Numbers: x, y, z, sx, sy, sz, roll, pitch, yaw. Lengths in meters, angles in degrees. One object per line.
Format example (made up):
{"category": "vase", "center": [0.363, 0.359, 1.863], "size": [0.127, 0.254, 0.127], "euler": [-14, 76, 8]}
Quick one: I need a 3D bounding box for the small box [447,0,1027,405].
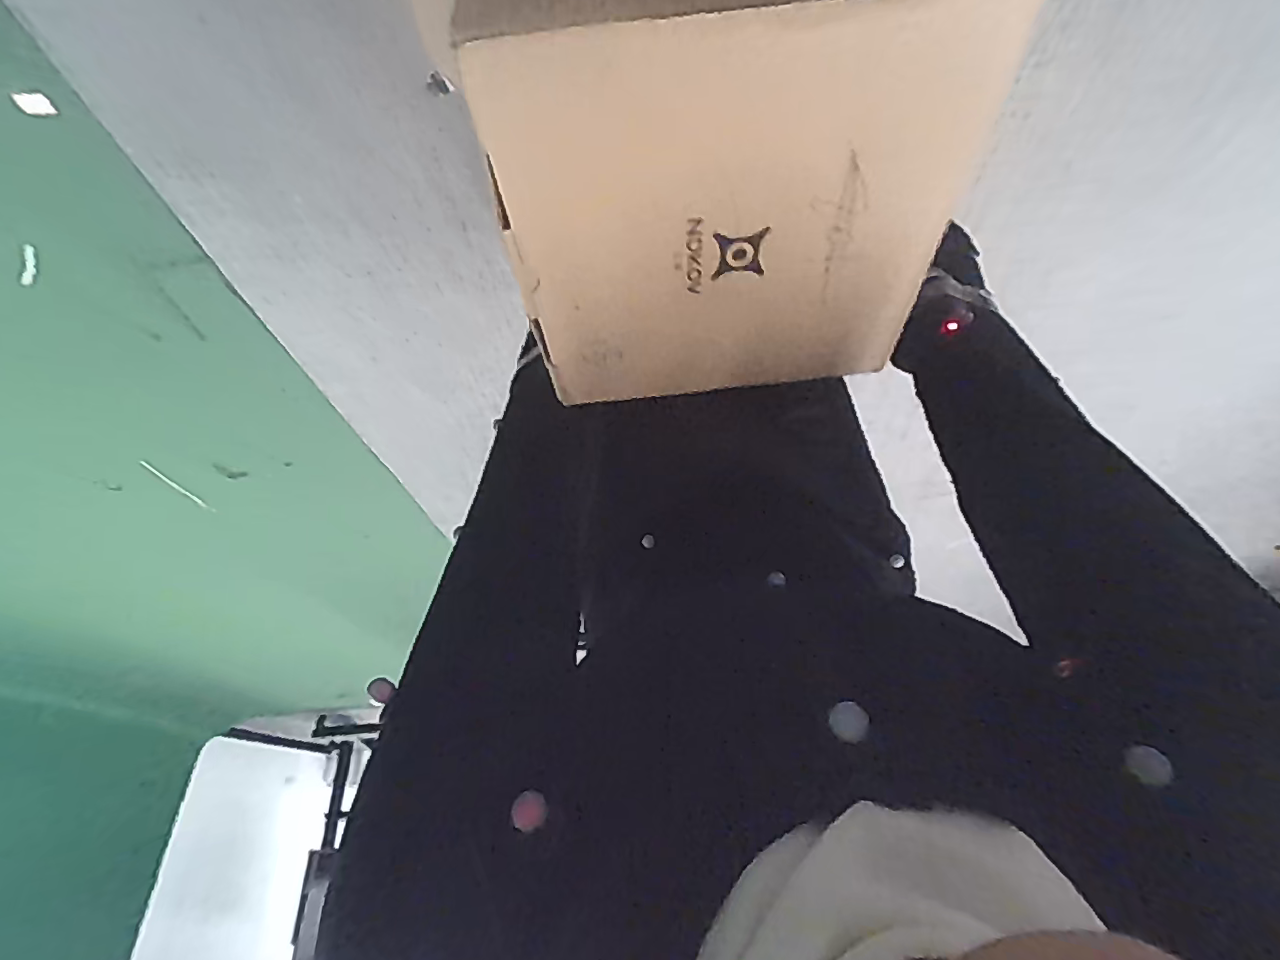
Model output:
{"category": "small box", "center": [0.029, -0.161, 0.266], "size": [0.179, 0.176, 0.168], "euler": [-7, 149, 2]}
